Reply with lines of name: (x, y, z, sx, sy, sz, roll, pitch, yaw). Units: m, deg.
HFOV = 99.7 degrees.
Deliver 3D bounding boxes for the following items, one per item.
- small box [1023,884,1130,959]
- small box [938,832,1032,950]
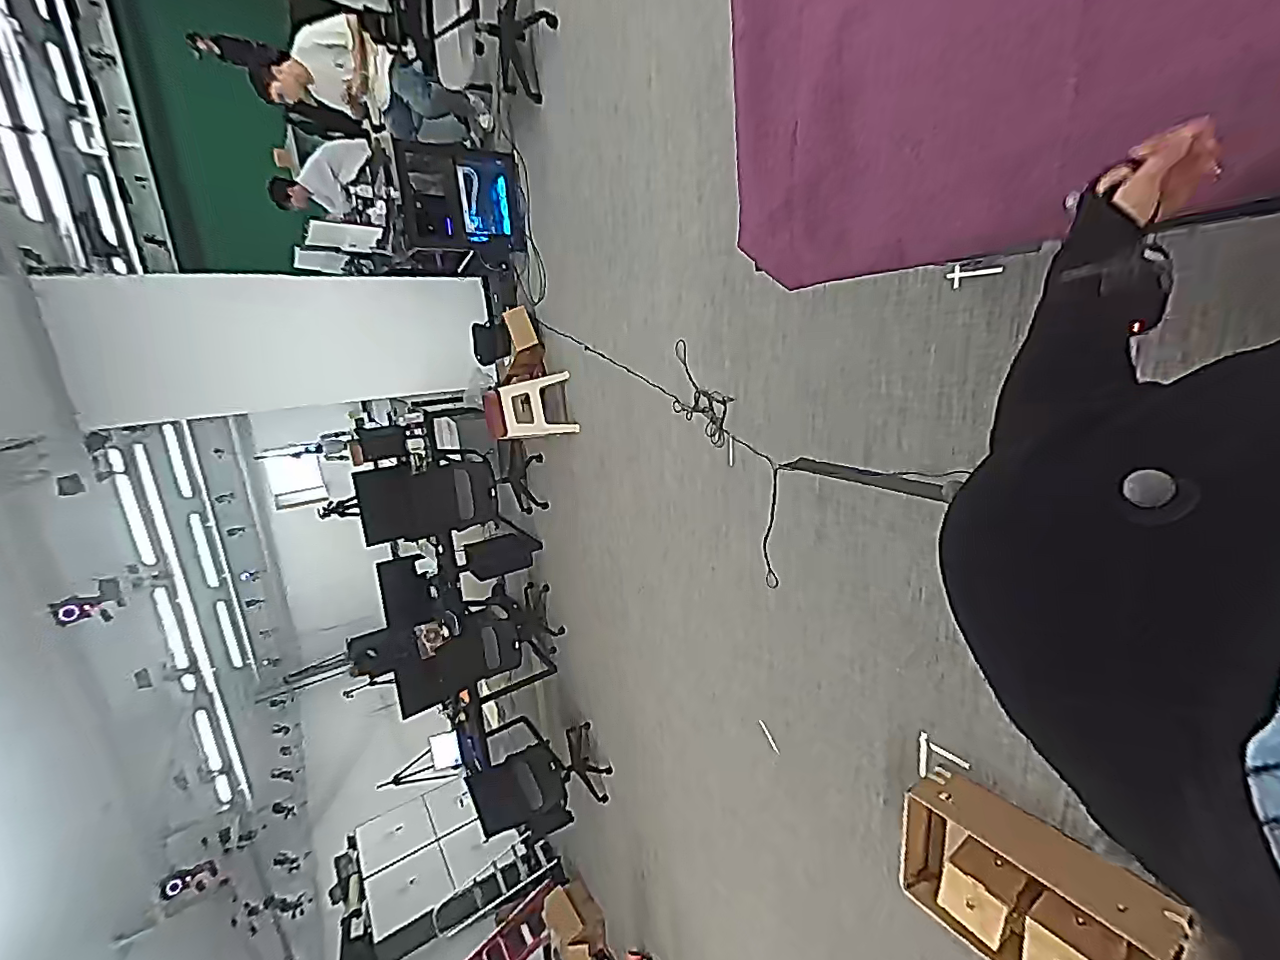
small box: (1.119, 1.202, 1.386, 0.168, 0.176, 0.179, 15, 114, 57)
small box: (1.002, 1.184, 1.570, 0.168, 0.176, 0.179, 24, 121, 52)
